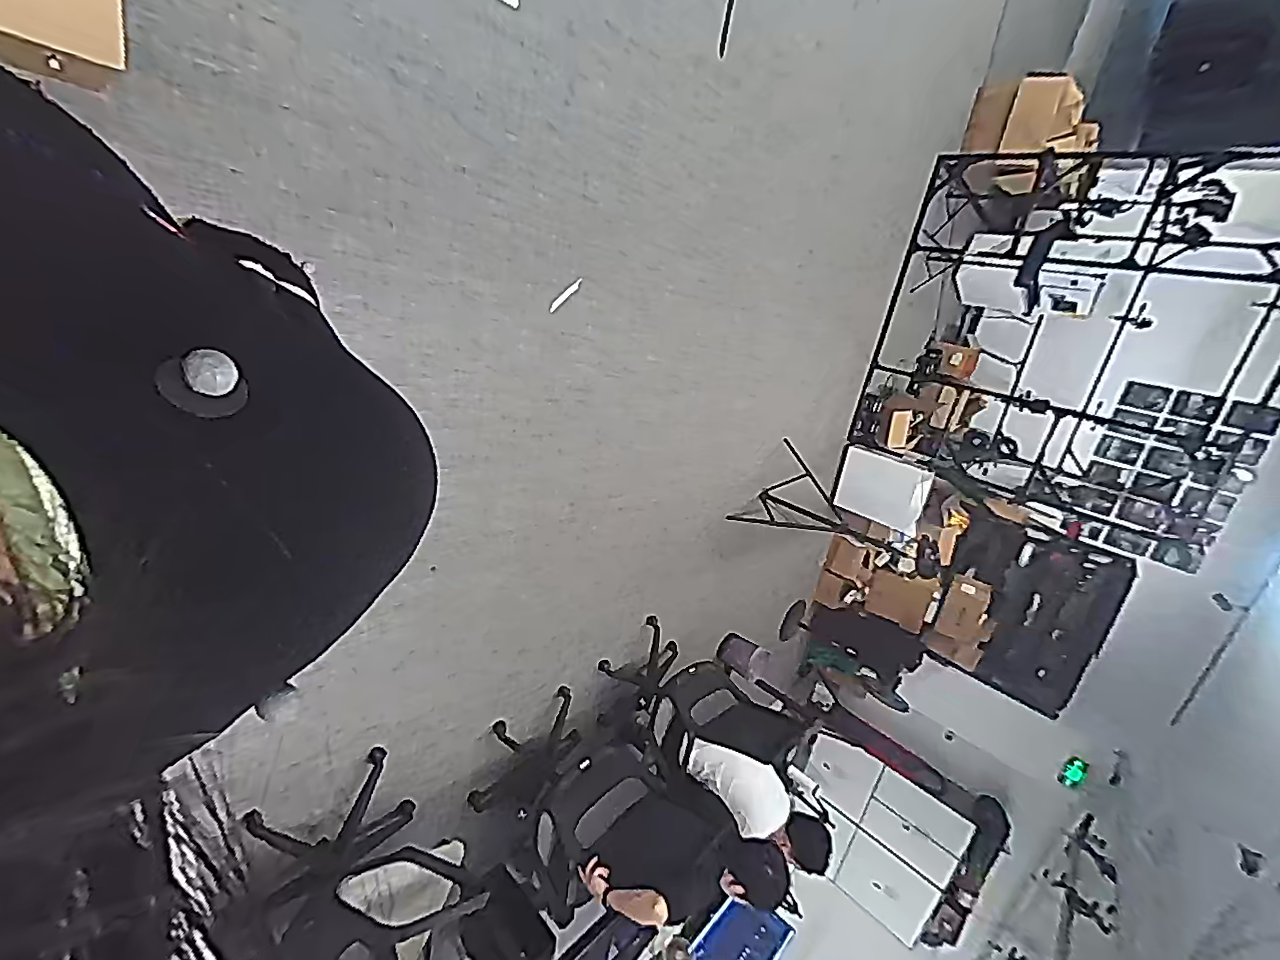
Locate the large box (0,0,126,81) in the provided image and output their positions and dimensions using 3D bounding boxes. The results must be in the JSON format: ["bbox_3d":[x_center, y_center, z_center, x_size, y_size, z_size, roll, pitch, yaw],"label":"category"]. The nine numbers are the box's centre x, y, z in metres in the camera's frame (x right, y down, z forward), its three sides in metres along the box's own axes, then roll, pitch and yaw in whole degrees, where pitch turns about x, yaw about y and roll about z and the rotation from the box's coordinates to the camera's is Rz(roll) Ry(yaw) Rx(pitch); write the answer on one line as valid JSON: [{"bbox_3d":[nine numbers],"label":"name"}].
[{"bbox_3d":[-0.959,-0.771,0.686,0.408,0.320,0.320,-9,116,-47],"label":"large box"}]
